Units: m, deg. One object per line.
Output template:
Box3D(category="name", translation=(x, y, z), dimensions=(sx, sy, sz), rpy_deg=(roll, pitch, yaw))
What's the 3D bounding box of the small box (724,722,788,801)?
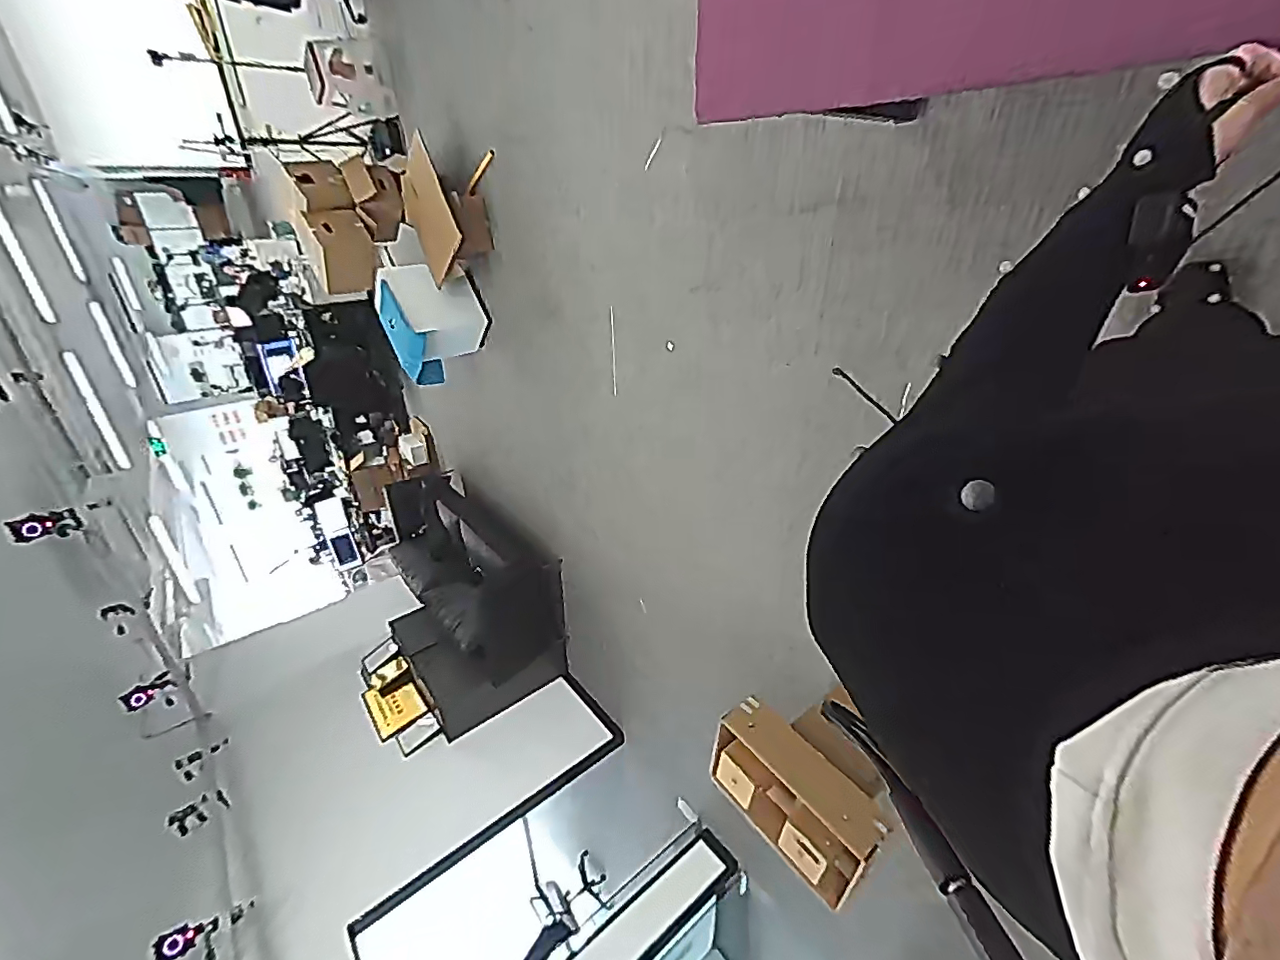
Box3D(category="small box", translation=(0.449, 1.083, 2.086), dimensions=(0.168, 0.176, 0.179), rpy_deg=(36, 134, 41))
